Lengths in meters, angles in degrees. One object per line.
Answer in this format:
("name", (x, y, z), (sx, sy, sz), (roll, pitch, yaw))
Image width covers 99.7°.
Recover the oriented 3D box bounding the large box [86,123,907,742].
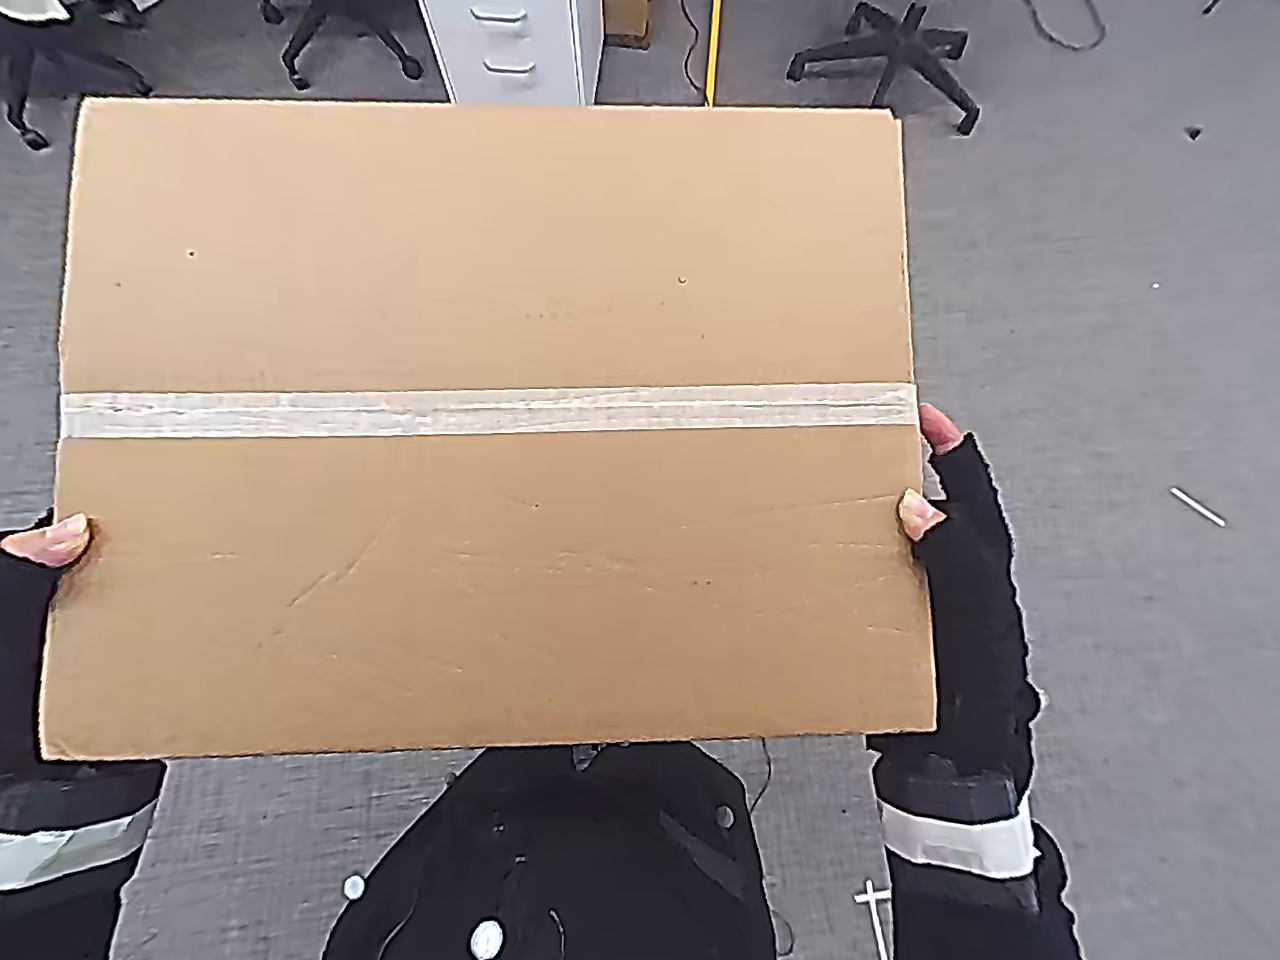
("large box", (-0.071, -0.024, 0.422), (0.408, 0.320, 0.320), (-1, 85, -2))
